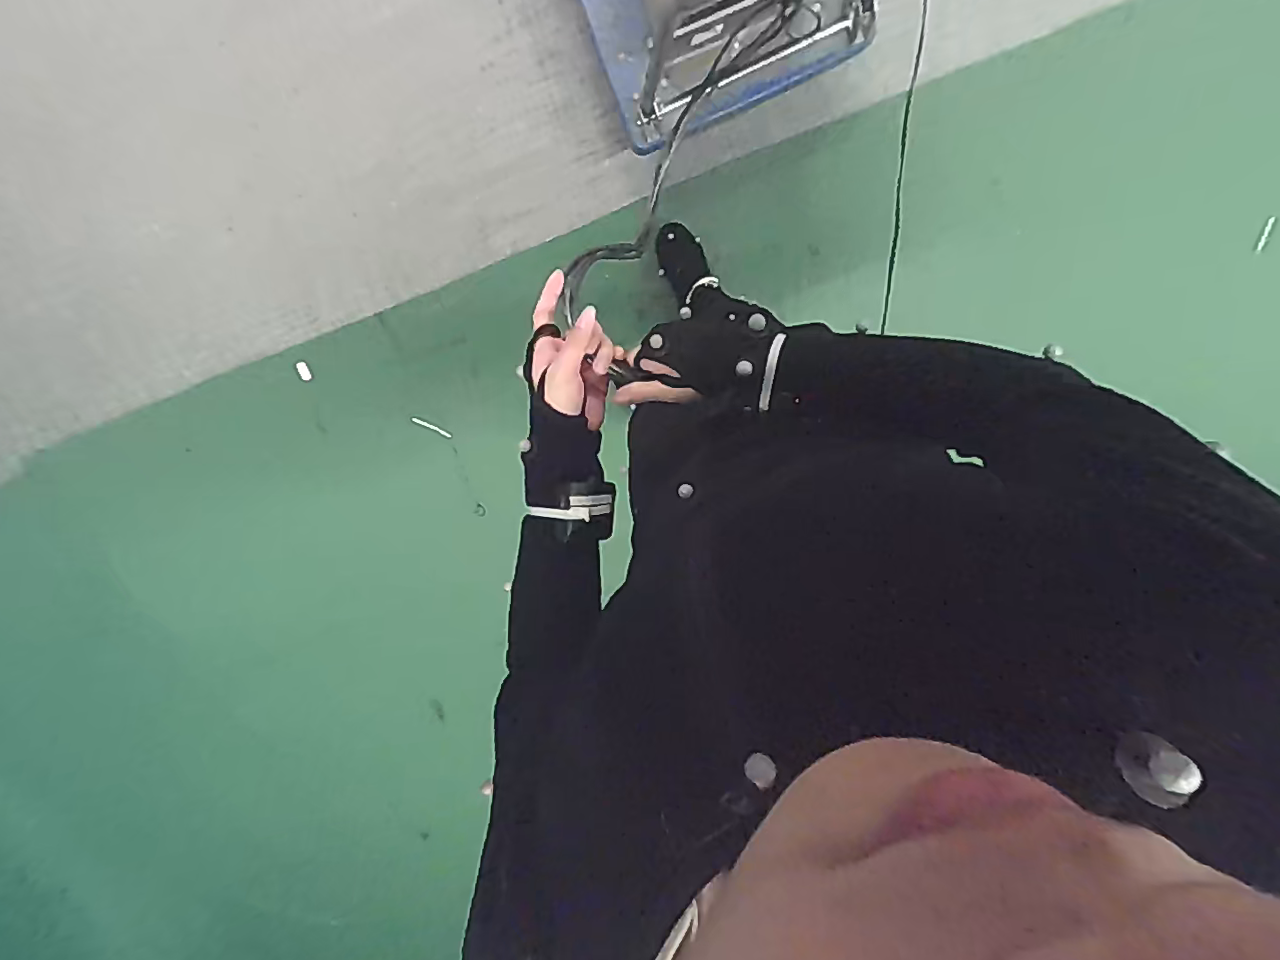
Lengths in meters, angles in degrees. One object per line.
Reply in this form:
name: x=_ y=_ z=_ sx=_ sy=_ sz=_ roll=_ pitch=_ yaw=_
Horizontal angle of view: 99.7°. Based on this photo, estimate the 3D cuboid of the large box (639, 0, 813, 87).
large box: x=0.129 y=-1.050 z=0.988 sx=0.320 sy=0.320 sz=0.408 roll=-21 pitch=107 yaw=5
